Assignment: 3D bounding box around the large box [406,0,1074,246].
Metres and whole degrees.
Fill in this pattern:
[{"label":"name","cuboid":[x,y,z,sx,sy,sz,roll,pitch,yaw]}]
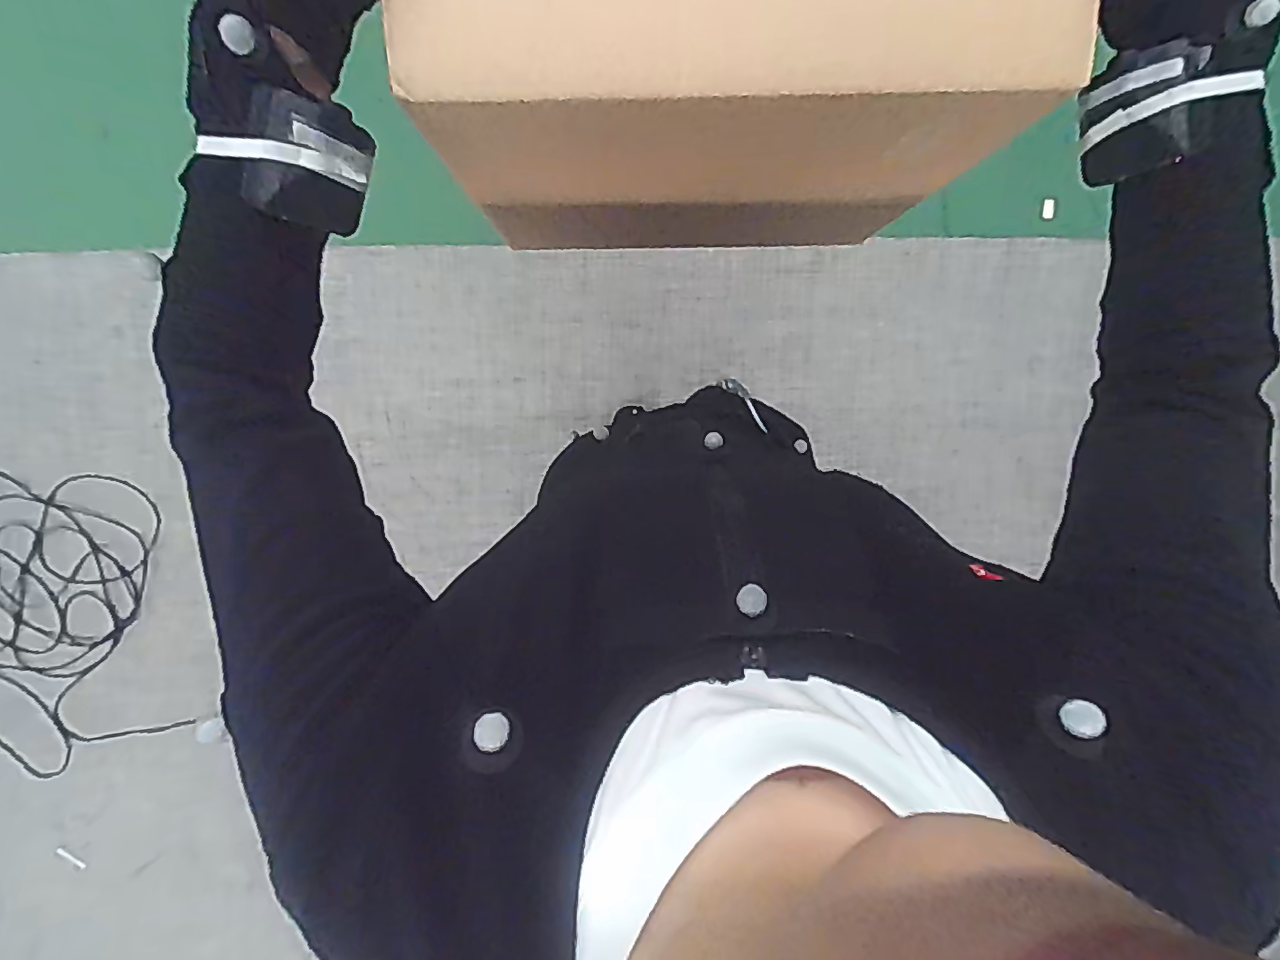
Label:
[{"label":"large box","cuboid":[0.052,-0.406,0.452,0.408,0.320,0.320,-2,99,0]}]
